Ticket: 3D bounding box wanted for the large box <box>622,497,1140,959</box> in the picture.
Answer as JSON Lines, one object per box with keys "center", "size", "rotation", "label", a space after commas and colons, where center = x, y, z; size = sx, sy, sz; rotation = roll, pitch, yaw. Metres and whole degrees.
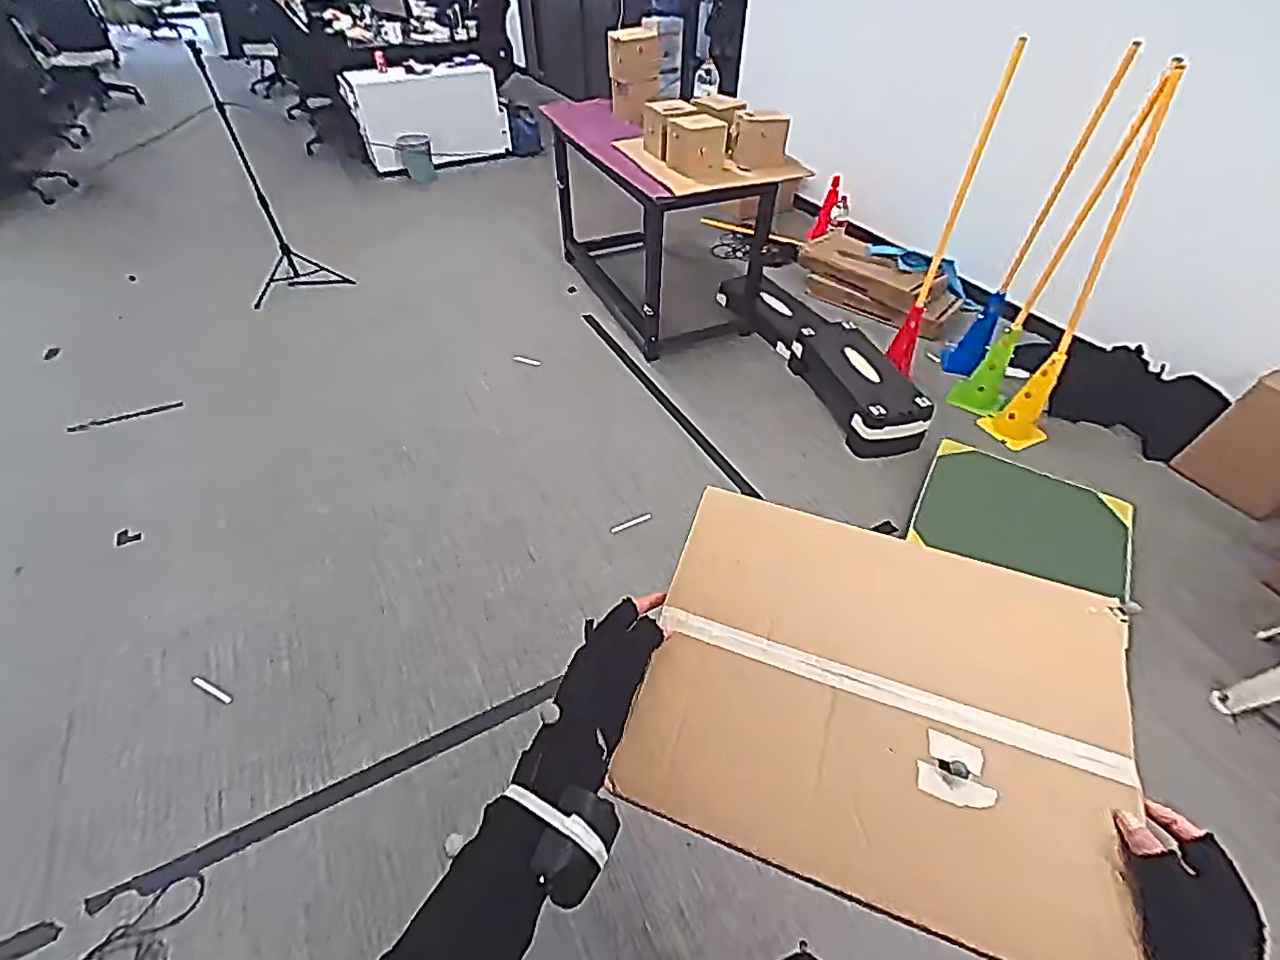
{"center": [0.223, 0.269, 0.621], "size": [0.408, 0.320, 0.320], "rotation": [16, 61, 13], "label": "large box"}
